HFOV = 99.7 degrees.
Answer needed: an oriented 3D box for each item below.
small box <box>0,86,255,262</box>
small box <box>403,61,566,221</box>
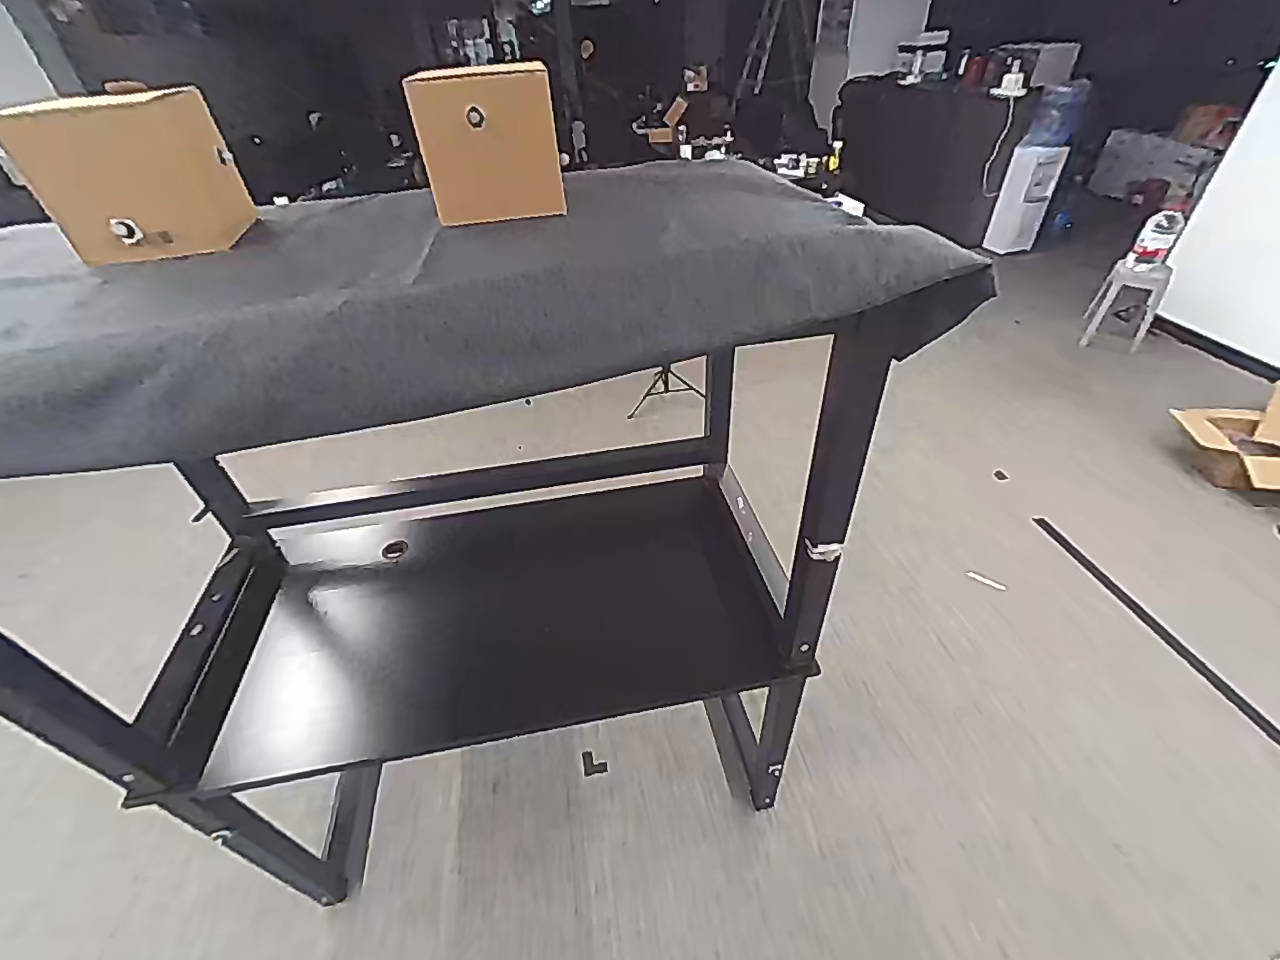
[{"bbox_3d":[-0.644,-0.400,0.705,0.168,0.176,0.179,-13,41,-9],"label":"small box"},{"bbox_3d":[-0.205,-0.475,0.759,0.179,0.176,0.168,-8,41,-5],"label":"small box"}]
